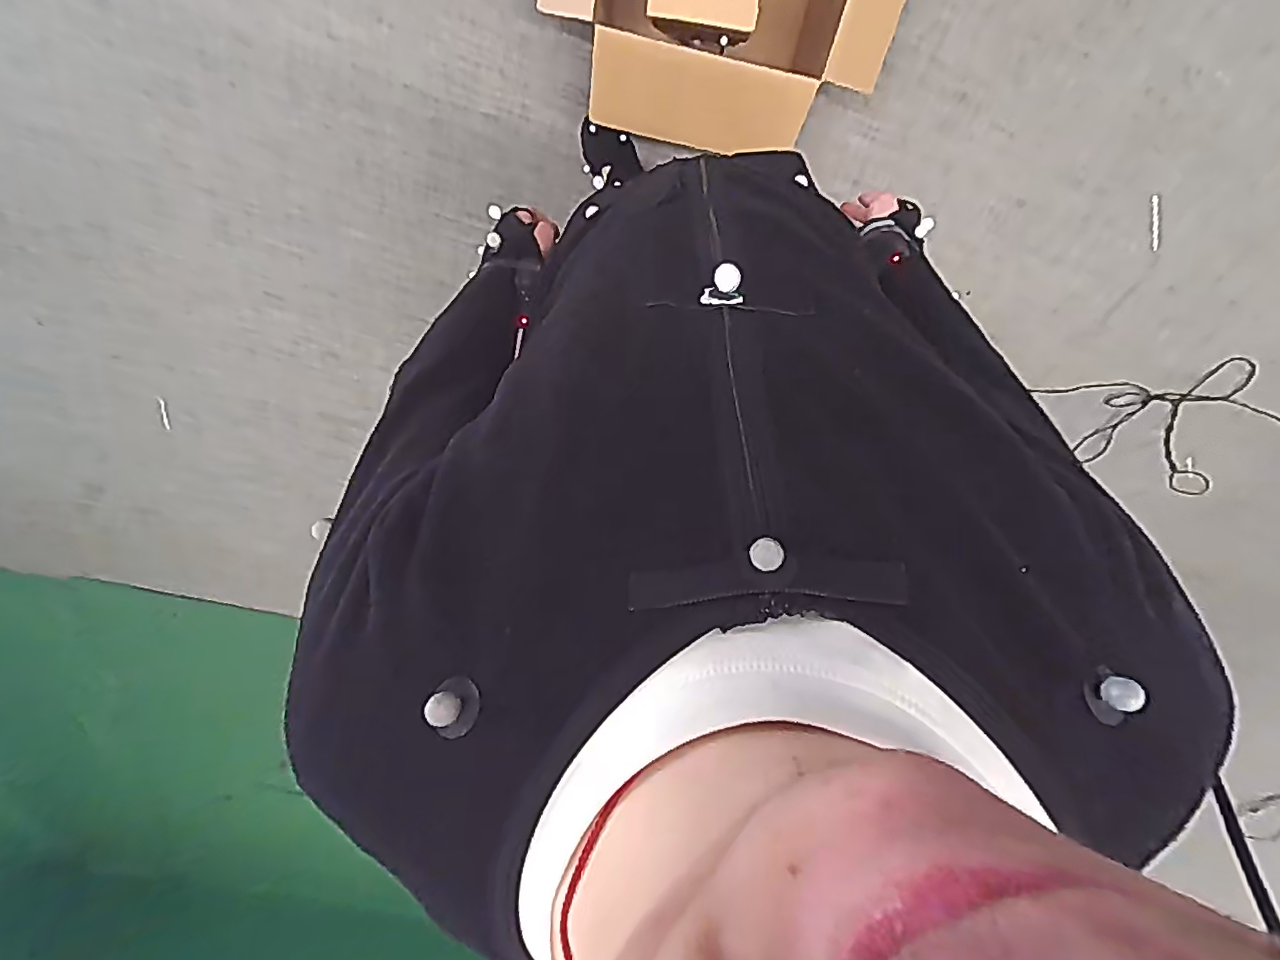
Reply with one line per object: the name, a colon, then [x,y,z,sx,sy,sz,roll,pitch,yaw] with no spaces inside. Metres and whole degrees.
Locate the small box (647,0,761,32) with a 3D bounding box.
small box: [0.116,-0.842,0.867,0.179,0.176,0.168,10,124,1]
